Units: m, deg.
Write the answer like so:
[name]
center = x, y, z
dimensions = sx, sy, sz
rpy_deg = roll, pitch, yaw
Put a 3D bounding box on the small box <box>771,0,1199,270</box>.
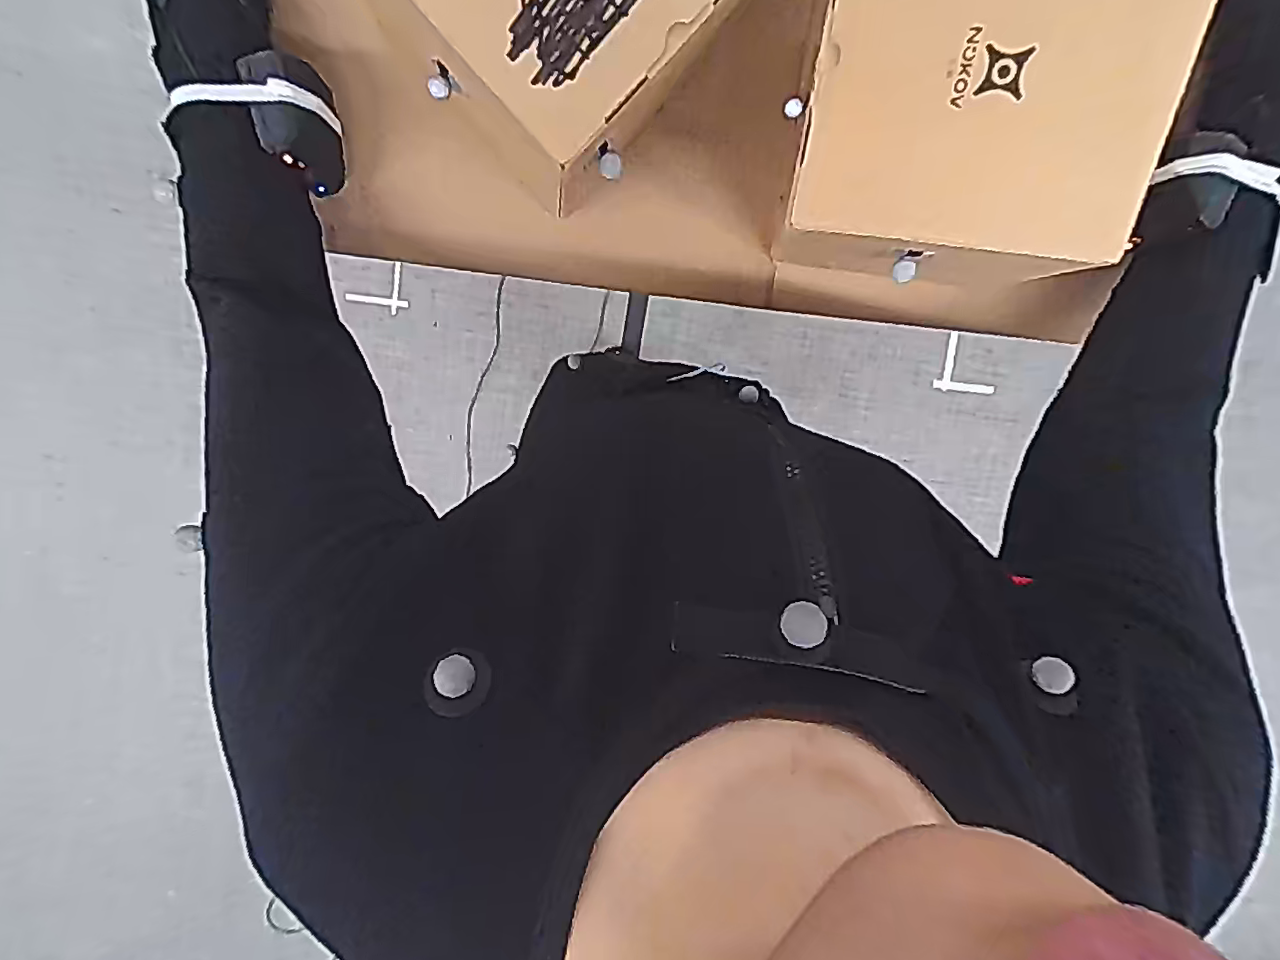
[small box]
center = 0.191, -0.238, 0.350
dimensions = 0.179, 0.176, 0.168
rpy_deg = 12, 107, 9
